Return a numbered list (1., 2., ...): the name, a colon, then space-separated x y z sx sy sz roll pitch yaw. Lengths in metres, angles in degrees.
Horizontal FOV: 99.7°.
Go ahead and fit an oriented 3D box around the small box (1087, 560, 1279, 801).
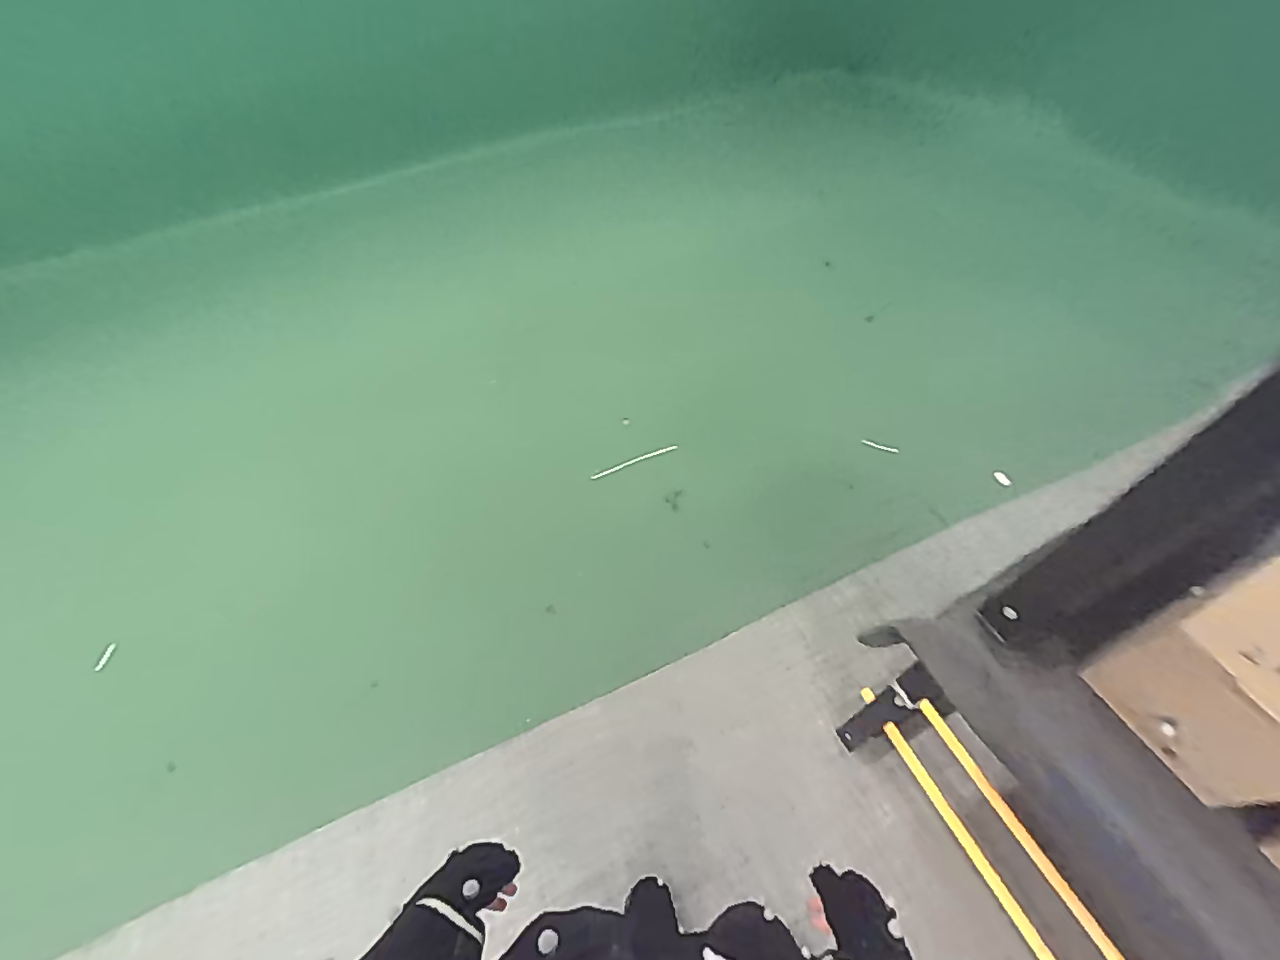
1. small box: 0.658 0.222 0.593 0.179 0.176 0.168 -24 57 -14
